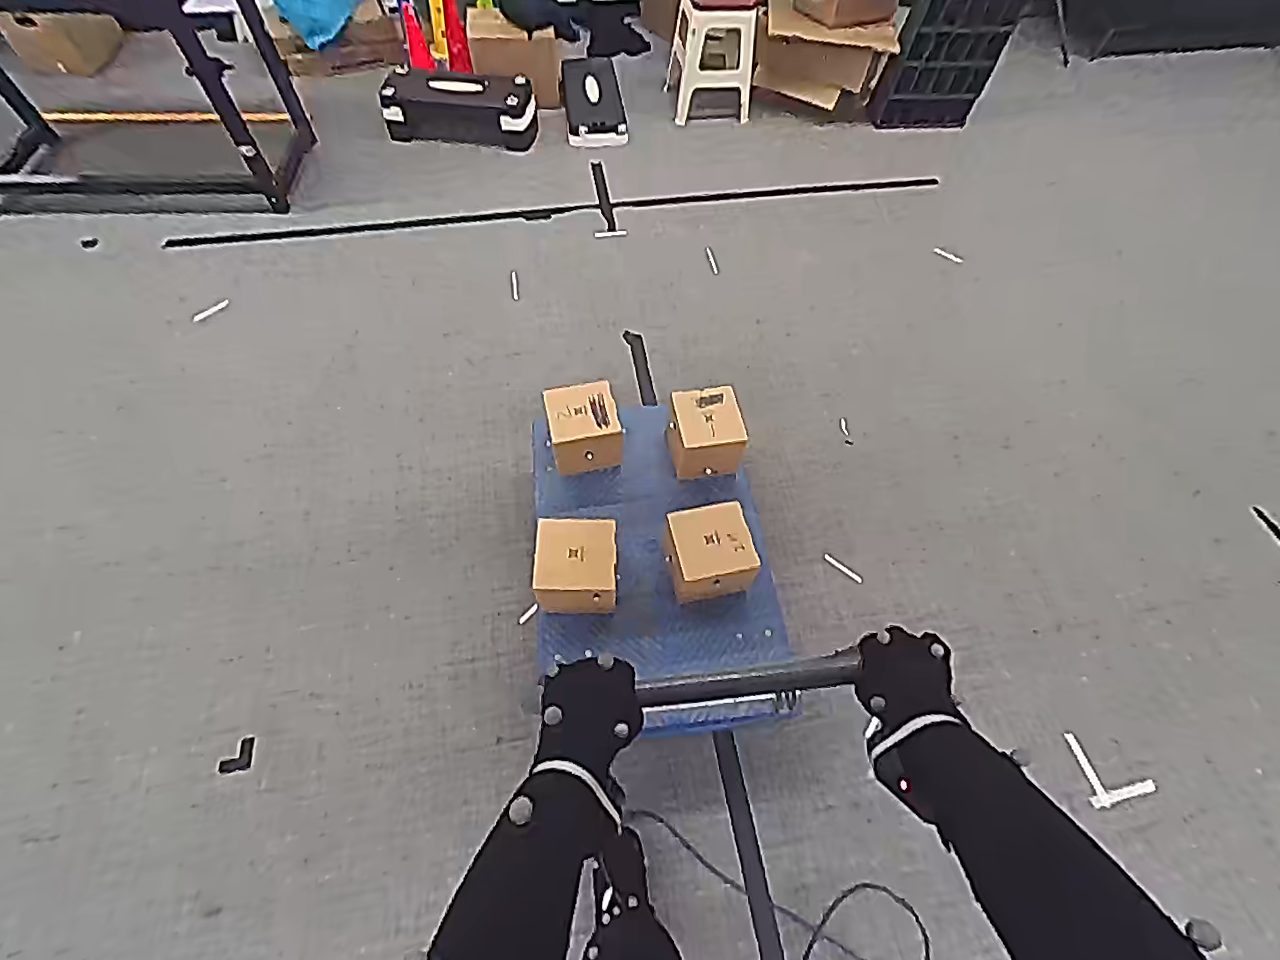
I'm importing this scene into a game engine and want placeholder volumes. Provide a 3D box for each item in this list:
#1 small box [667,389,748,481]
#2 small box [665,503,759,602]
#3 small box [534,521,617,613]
[{"bbox_3d":[0.171,-0.118,1.444,0.168,0.176,0.179,-8,62,-7],"label":"small box"},{"bbox_3d":[0.160,0.177,1.276,0.179,0.176,0.168,-10,62,-8],"label":"small box"},{"bbox_3d":[-0.141,0.204,1.246,0.179,0.176,0.168,1,60,-4],"label":"small box"}]
